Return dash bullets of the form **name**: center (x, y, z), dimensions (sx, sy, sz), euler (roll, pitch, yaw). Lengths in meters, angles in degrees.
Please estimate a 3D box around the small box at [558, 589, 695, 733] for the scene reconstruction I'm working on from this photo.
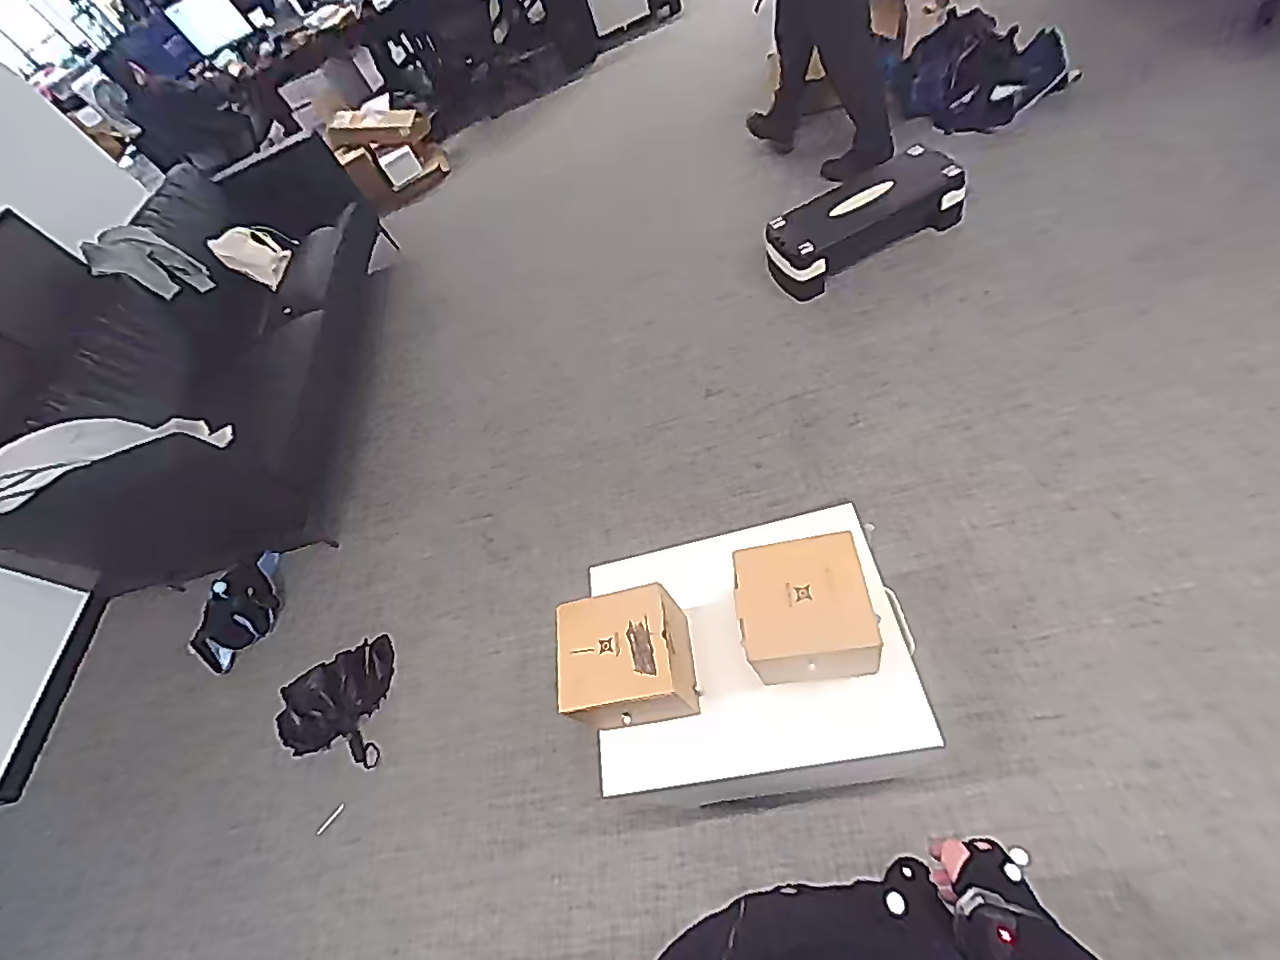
- **small box**: center (-0.017, 0.293, 0.860), dimensions (0.179, 0.176, 0.168), euler (-15, 54, 13)

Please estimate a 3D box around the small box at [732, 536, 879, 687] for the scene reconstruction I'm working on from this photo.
- **small box**: center (0.248, 0.205, 0.813), dimensions (0.179, 0.176, 0.168), euler (-12, 57, 14)
